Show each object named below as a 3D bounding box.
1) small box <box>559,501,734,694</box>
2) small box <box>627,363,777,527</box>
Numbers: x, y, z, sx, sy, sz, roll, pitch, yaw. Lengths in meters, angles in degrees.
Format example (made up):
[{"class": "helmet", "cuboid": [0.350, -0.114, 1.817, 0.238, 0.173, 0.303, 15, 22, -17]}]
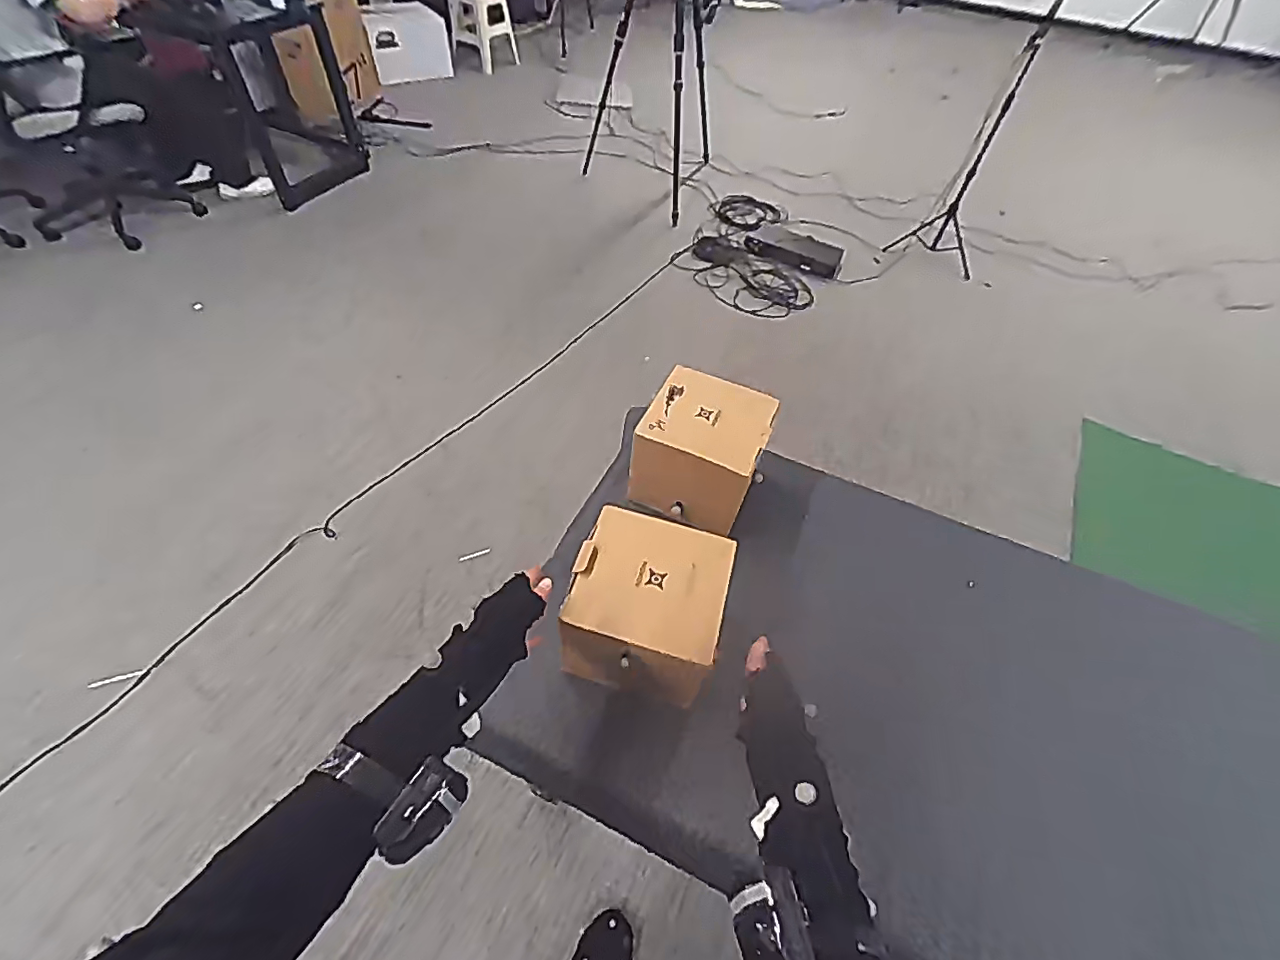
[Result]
[{"class": "small box", "cuboid": [0.005, 0.157, 0.699, 0.179, 0.176, 0.168, 16, 54, 4]}, {"class": "small box", "cuboid": [0.092, -0.049, 0.862, 0.179, 0.176, 0.168, 23, 55, 11]}]
